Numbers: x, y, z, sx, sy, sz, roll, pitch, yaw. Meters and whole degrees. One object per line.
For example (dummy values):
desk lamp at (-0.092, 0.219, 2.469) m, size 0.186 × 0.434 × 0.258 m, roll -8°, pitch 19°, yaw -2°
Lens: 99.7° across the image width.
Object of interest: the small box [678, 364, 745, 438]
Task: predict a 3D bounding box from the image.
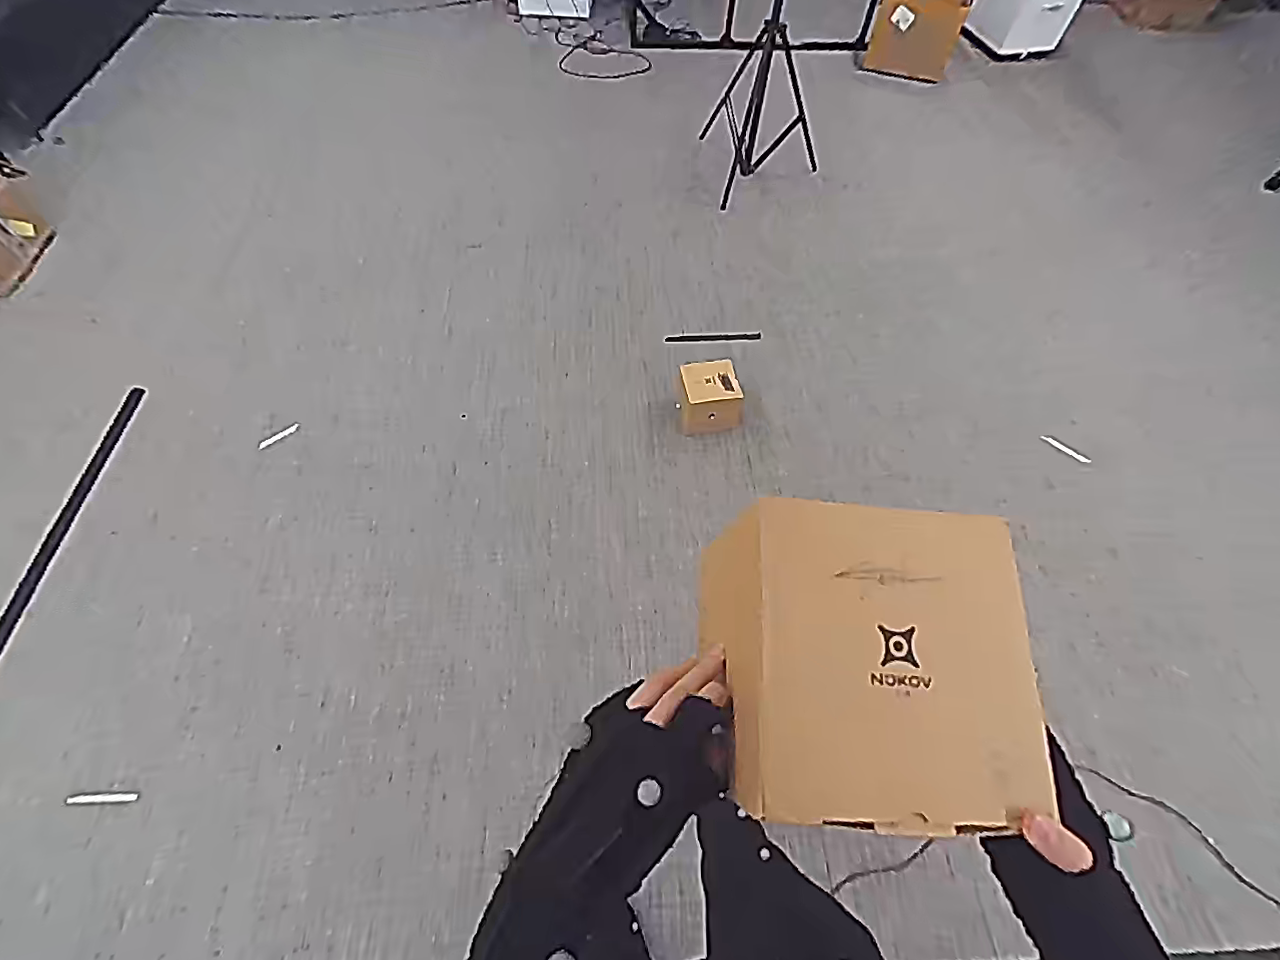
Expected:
small box at (0.231, -0.258, 1.784) m, size 0.179 × 0.176 × 0.168 m, roll -8°, pitch 59°, yaw -5°
